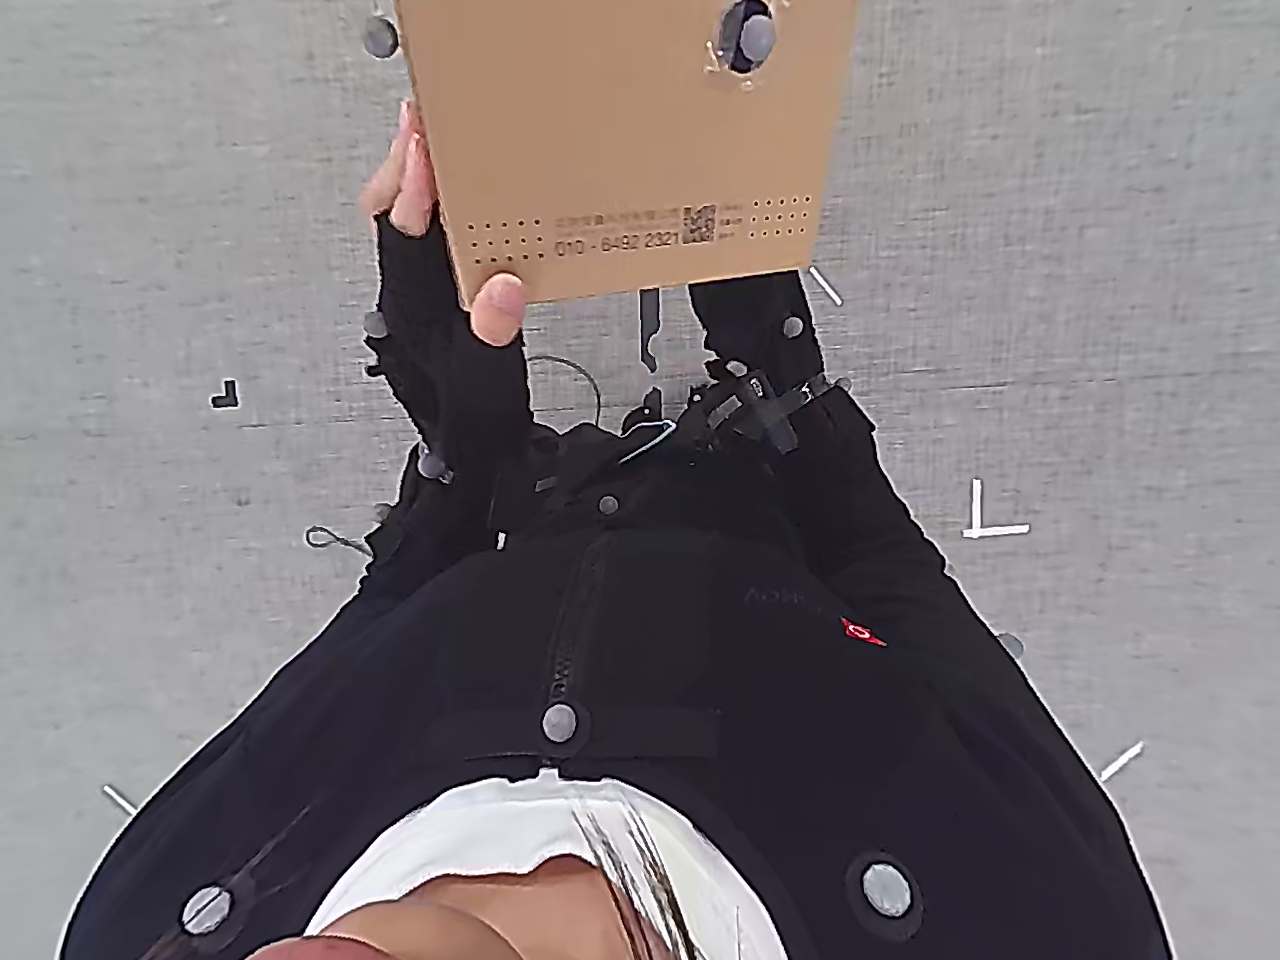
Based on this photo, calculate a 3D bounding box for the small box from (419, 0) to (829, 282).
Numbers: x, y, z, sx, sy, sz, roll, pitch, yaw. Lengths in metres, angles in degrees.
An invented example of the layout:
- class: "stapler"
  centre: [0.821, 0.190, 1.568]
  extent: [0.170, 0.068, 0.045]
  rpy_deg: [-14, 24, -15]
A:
- class: "small box"
  centre: [-0.018, -0.208, 0.276]
  extent: [0.168, 0.179, 0.176]
  rpy_deg: [-12, 130, -14]
